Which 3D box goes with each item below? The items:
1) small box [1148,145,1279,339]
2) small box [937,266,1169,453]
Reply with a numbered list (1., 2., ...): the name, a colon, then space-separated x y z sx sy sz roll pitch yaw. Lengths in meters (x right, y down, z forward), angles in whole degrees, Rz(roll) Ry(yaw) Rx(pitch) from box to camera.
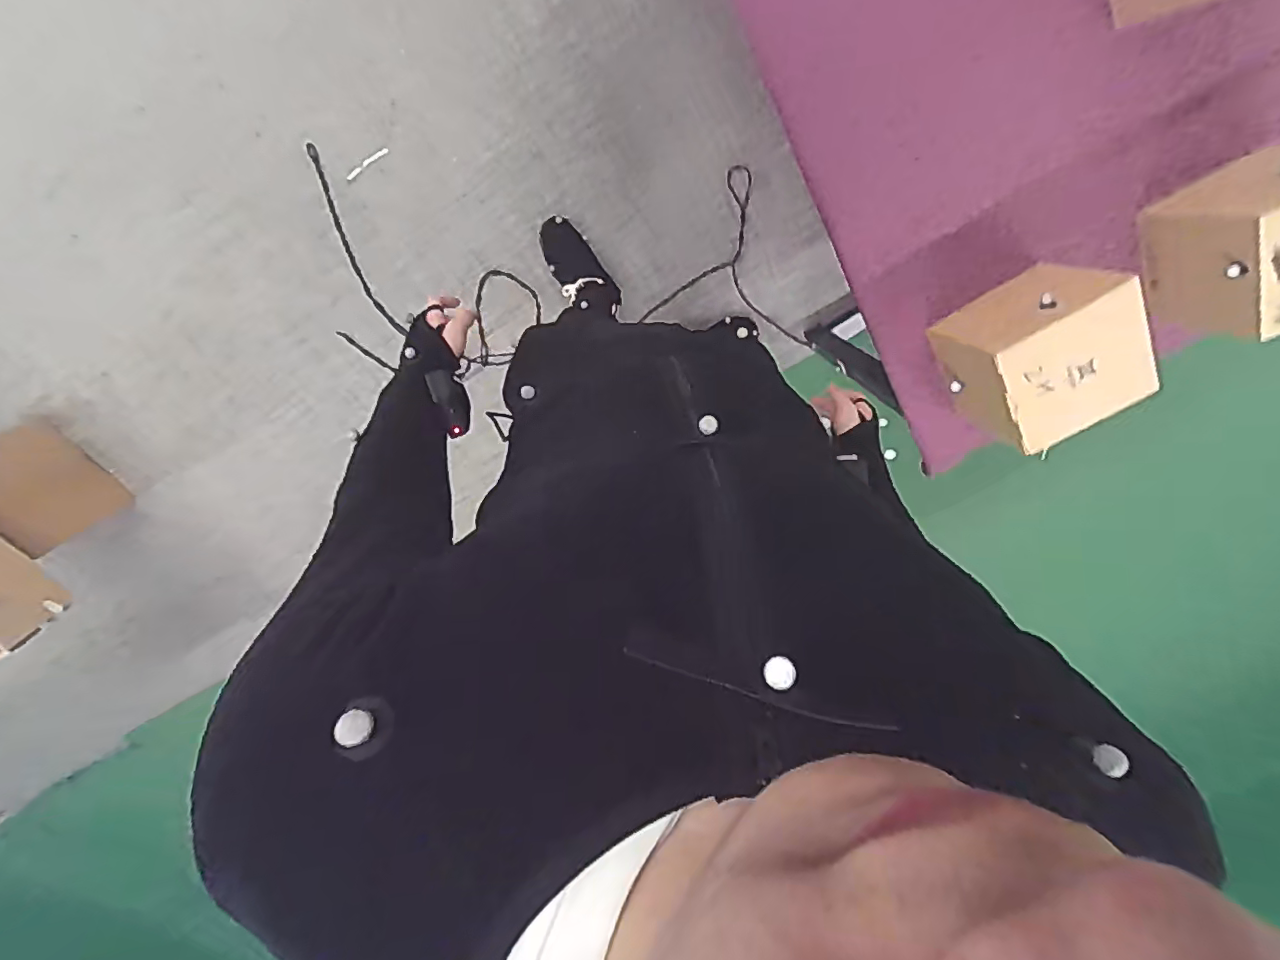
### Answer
1. small box: 0.810 -0.309 0.684 0.179 0.176 0.168 -28 114 12
2. small box: 0.553 -0.172 0.743 0.179 0.176 0.168 -30 113 13
